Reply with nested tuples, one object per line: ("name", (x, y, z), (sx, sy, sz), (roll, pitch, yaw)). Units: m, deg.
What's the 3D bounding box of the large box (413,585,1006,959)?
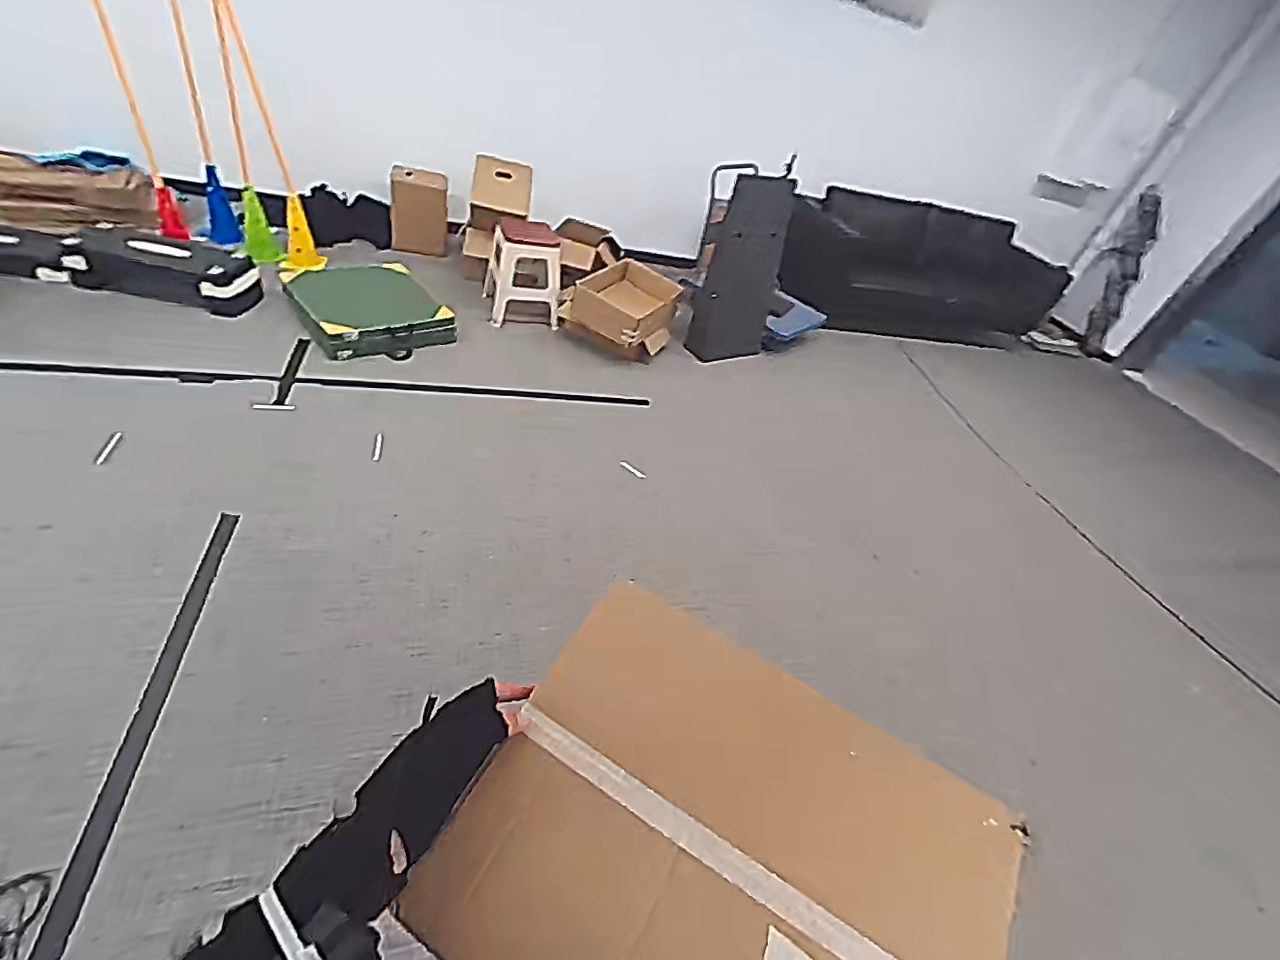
("large box", (0.059, 0.382, 0.558), (0.408, 0.320, 0.320), (29, 59, 14))
